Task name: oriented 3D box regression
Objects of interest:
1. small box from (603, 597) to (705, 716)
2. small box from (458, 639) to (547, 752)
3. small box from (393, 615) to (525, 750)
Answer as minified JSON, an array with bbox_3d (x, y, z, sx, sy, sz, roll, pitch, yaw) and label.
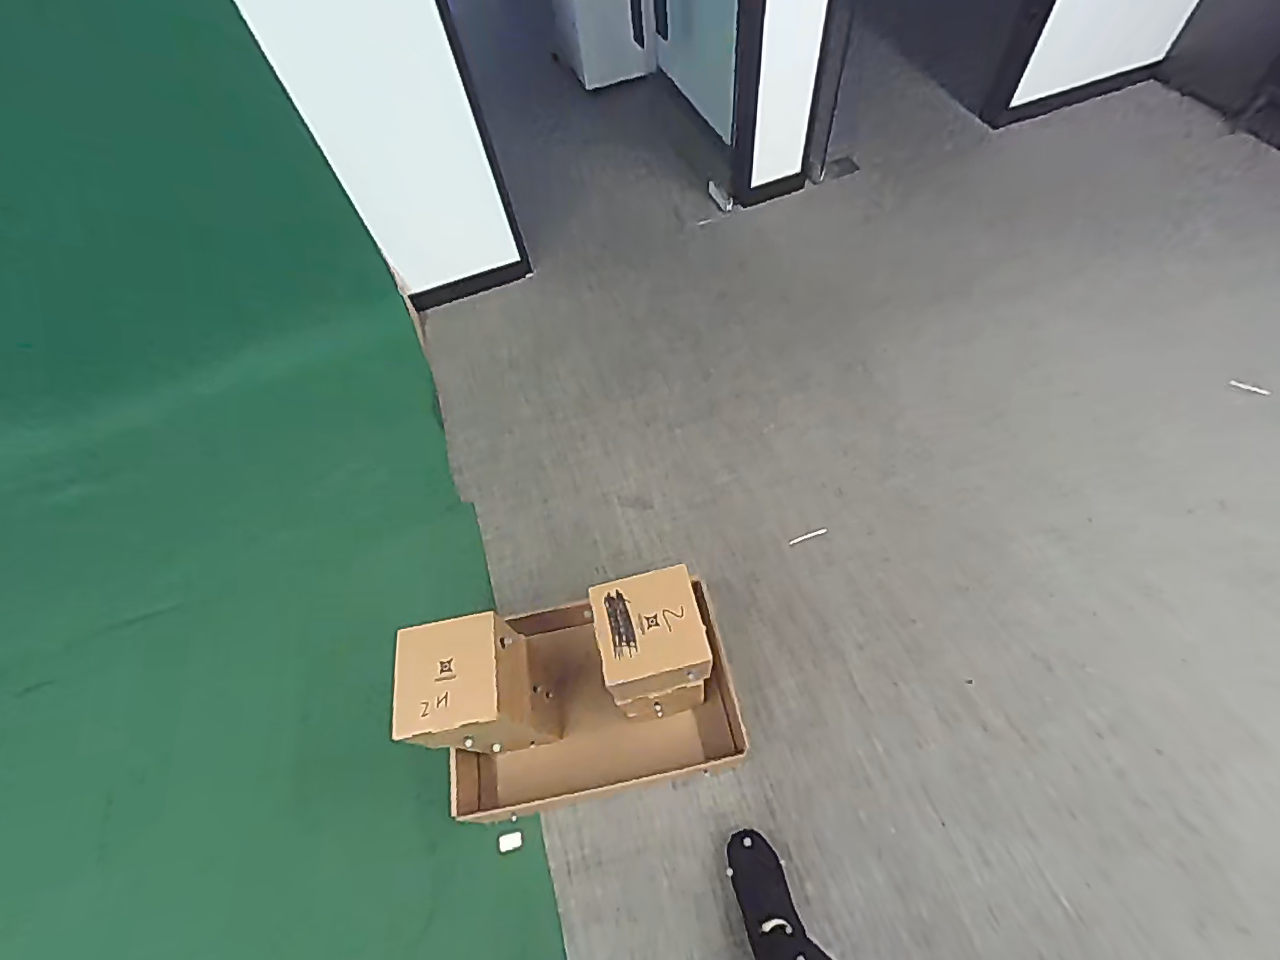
[{"bbox_3d":[0.029,0.358,1.088,0.168,0.176,0.179,-14,60,-1],"label":"small box"},{"bbox_3d":[-0.287,0.434,1.080,0.168,0.176,0.179,-9,61,0],"label":"small box"},{"bbox_3d":[-0.304,0.355,0.936,0.168,0.176,0.179,-11,60,-1],"label":"small box"}]
